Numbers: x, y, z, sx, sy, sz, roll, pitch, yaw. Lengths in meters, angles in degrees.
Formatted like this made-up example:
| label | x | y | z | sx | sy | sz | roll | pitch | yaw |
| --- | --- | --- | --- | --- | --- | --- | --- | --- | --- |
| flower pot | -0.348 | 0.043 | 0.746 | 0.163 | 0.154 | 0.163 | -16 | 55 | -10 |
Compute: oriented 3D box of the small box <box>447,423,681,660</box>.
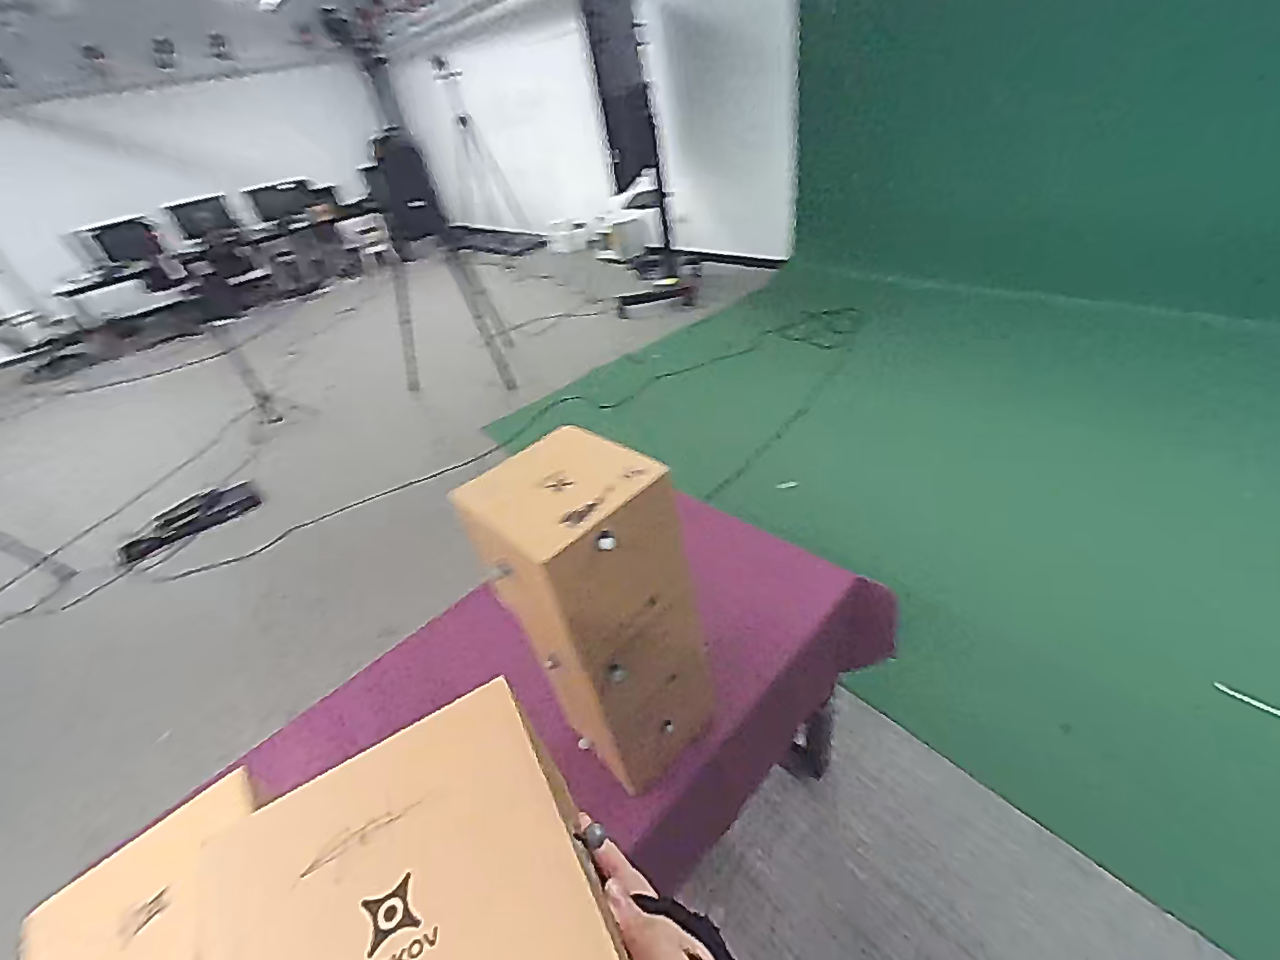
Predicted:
| label | x | y | z | sx | sy | sz | roll | pitch | yaw |
| --- | --- | --- | --- | --- | --- | --- | --- | --- | --- |
| small box | -0.077 | 0.063 | 0.601 | 0.168 | 0.176 | 0.179 | -38 | 42 | -29 |

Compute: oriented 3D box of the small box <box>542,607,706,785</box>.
| label | x | y | z | sx | sy | sz | roll | pitch | yaw |
| --- | --- | --- | --- | --- | --- | --- | --- | --- | --- |
| small box | -0.016 | 0.308 | 0.814 | 0.179 | 0.176 | 0.168 | -36 | 42 | -26 |

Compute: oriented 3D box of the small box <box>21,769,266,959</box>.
| label | x | y | z | sx | sy | sz | roll | pitch | yaw |
| --- | --- | --- | --- | --- | --- | --- | --- | --- | --- |
| small box | -0.397 | 0.422 | 0.498 | 0.179 | 0.176 | 0.168 | -36 | 43 | -27 |

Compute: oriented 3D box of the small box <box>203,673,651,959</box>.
| label | x | y | z | sx | sy | sz | roll | pitch | yaw |
| --- | --- | --- | --- | --- | --- | --- | --- | --- | --- |
| small box | -0.096 | 0.251 | 0.295 | 0.168 | 0.176 | 0.179 | -25 | 45 | -16 |
